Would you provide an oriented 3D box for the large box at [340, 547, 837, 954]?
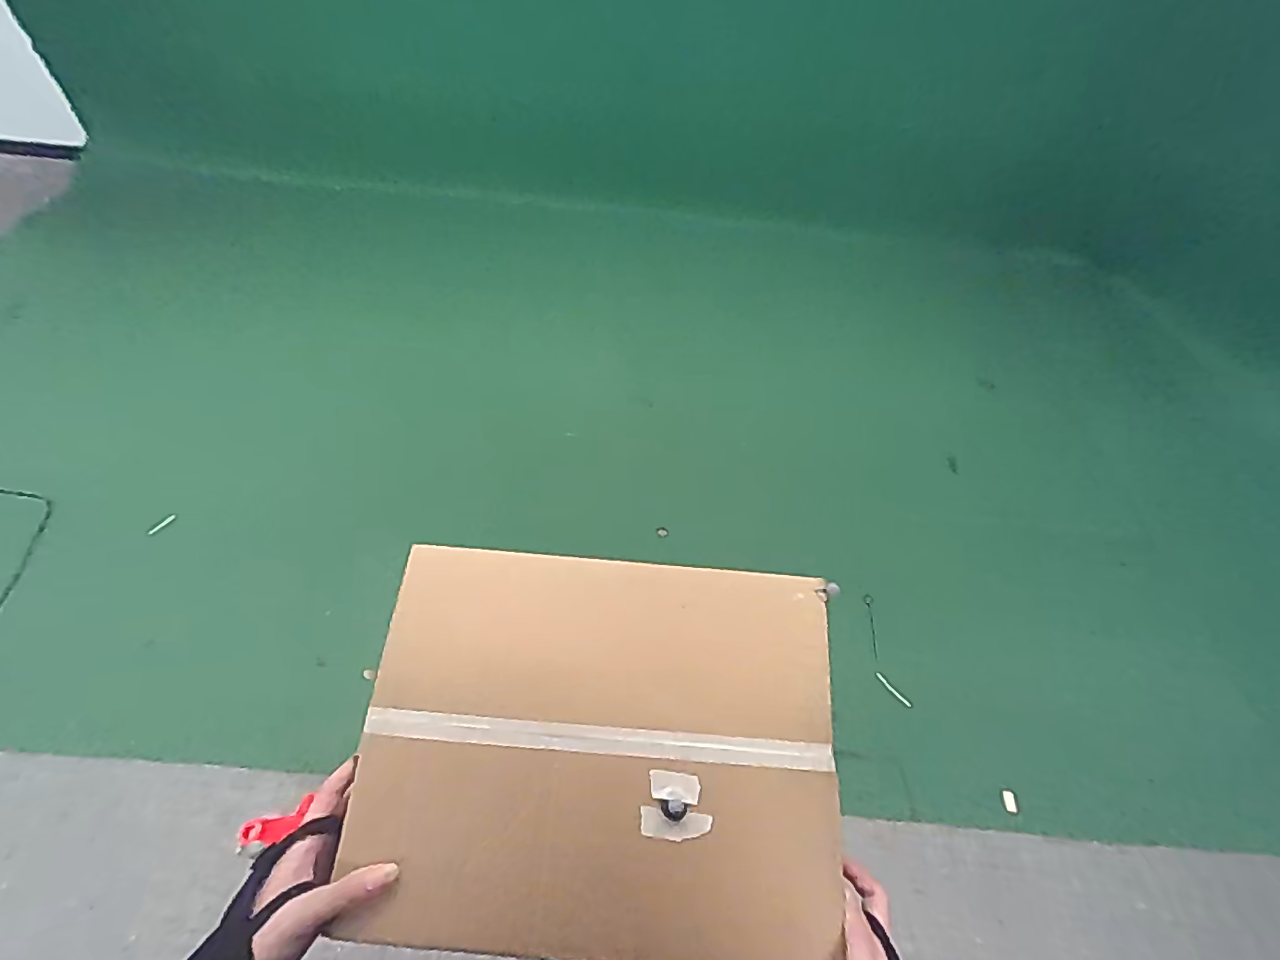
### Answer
[{"bbox_3d":[-0.038,0.279,0.620,0.408,0.320,0.320,5,68,0],"label":"large box"}]

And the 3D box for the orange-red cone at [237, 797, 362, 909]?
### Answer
[{"bbox_3d":[-0.752,0.776,1.156,0.199,0.360,0.198,10,51,5],"label":"orange-red cone"}]
